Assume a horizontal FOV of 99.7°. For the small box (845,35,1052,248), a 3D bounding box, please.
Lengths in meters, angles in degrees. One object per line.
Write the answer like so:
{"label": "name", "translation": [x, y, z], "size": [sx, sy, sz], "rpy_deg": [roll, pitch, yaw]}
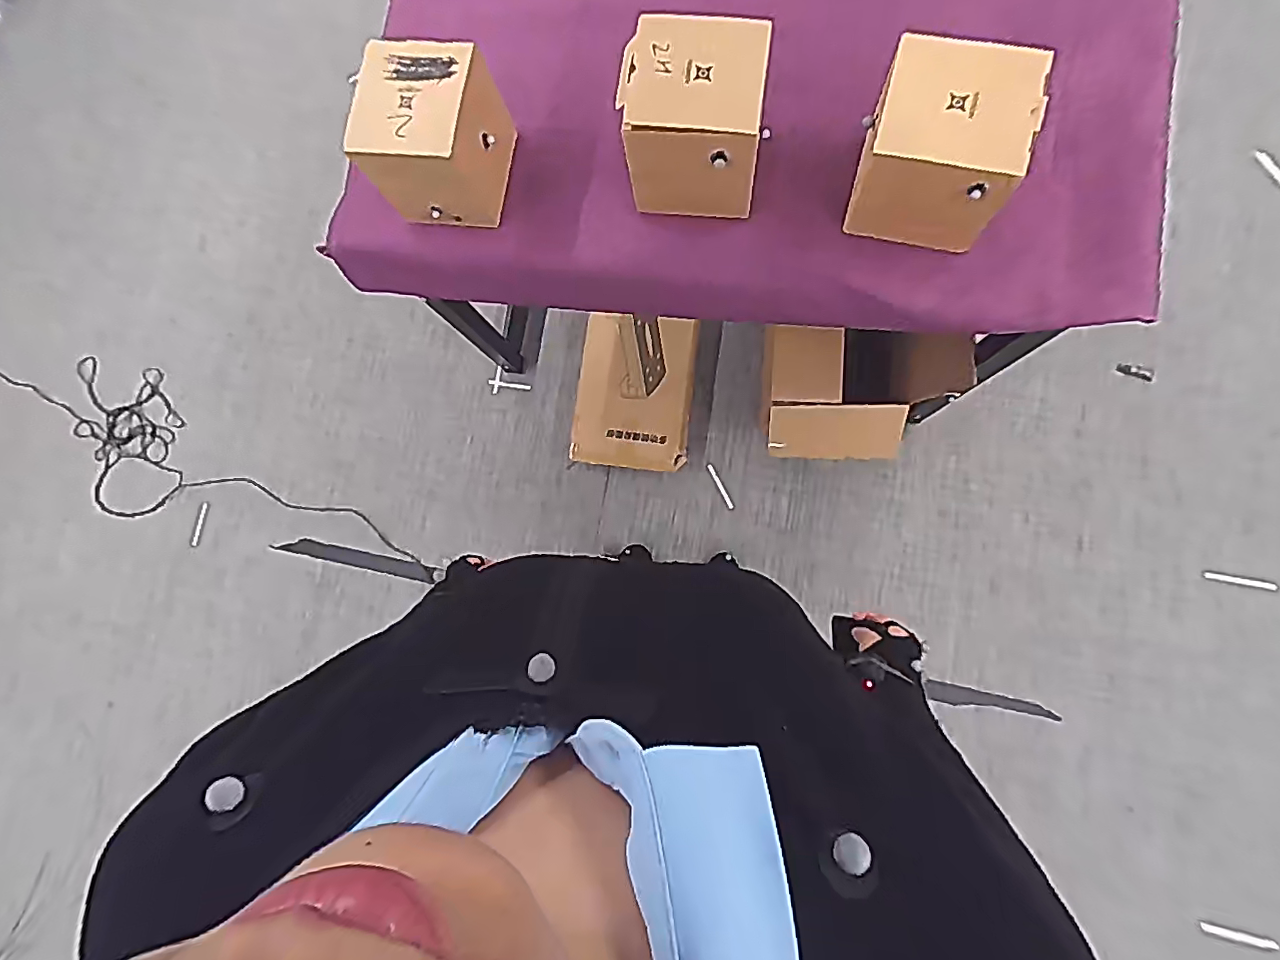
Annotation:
{"label": "small box", "translation": [0.390, -0.435, 0.717], "size": [0.179, 0.176, 0.168], "rpy_deg": [15, 85, 9]}

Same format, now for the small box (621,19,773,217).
{"label": "small box", "translation": [0.082, -0.499, 0.765], "size": [0.179, 0.176, 0.168], "rpy_deg": [7, 81, 8]}
